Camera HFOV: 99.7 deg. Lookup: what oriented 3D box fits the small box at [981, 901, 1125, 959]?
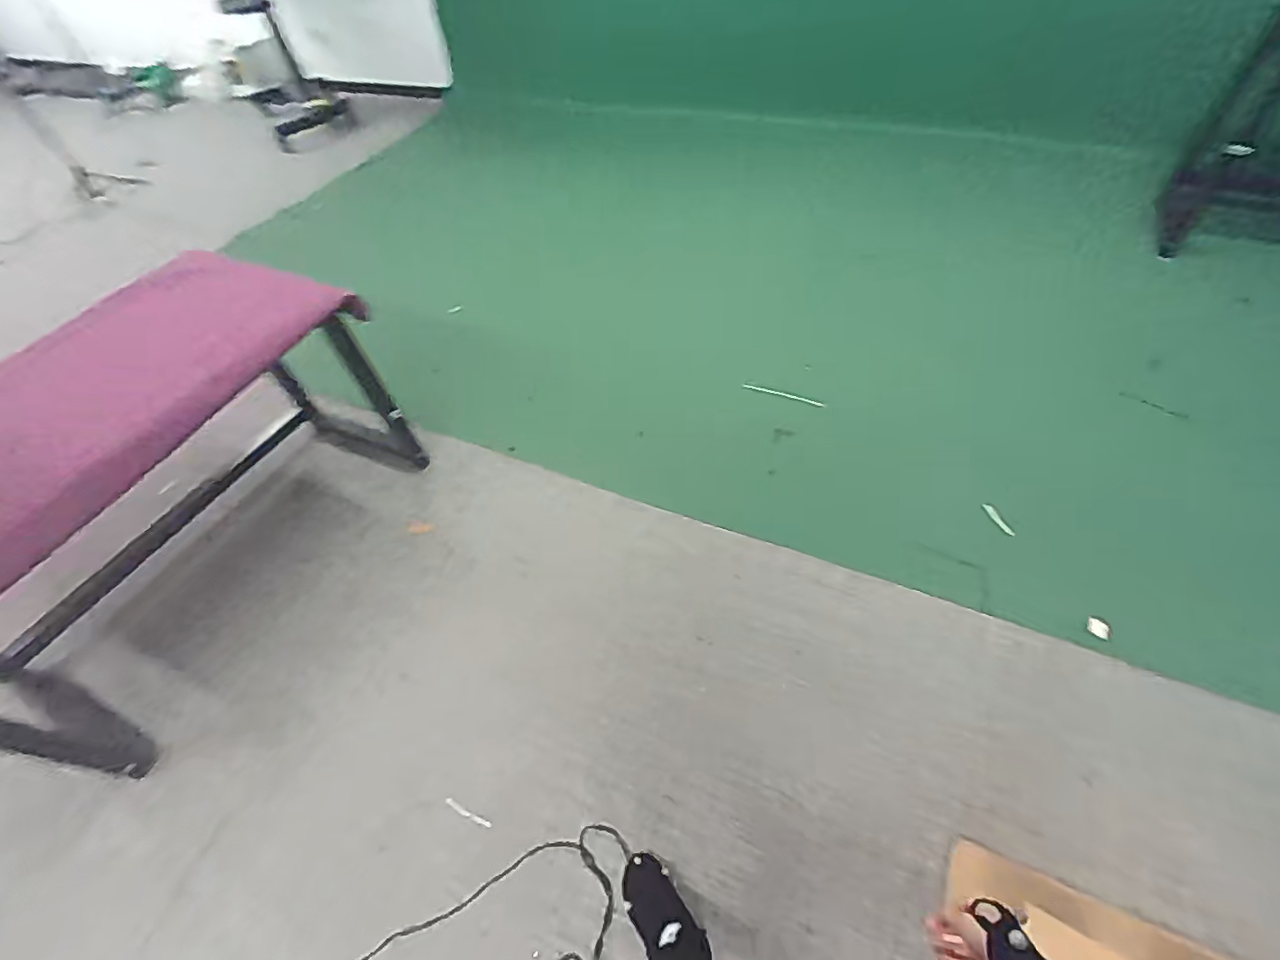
[{"bbox_3d":[0.746,0.909,0.982,0.179,0.176,0.168,23,59,21],"label":"small box"}]
